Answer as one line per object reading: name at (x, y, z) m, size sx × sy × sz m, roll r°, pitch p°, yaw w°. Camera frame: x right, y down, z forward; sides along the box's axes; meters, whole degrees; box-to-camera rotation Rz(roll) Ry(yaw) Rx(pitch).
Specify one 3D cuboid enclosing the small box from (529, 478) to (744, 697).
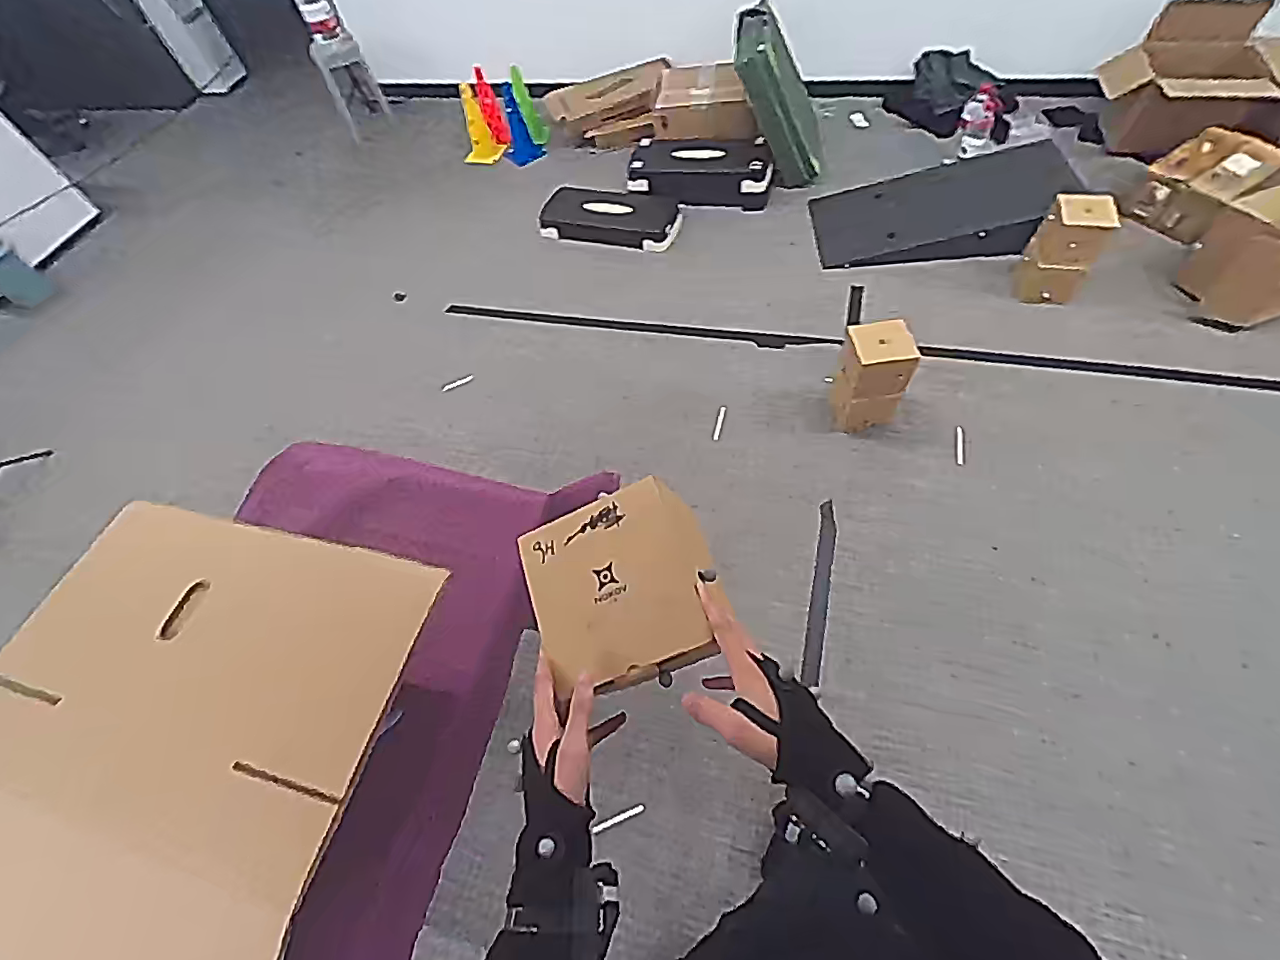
small box at (0.004, 0.124, 0.611) m, size 0.168 × 0.176 × 0.179 m, roll -25°, pitch 68°, yaw 11°
